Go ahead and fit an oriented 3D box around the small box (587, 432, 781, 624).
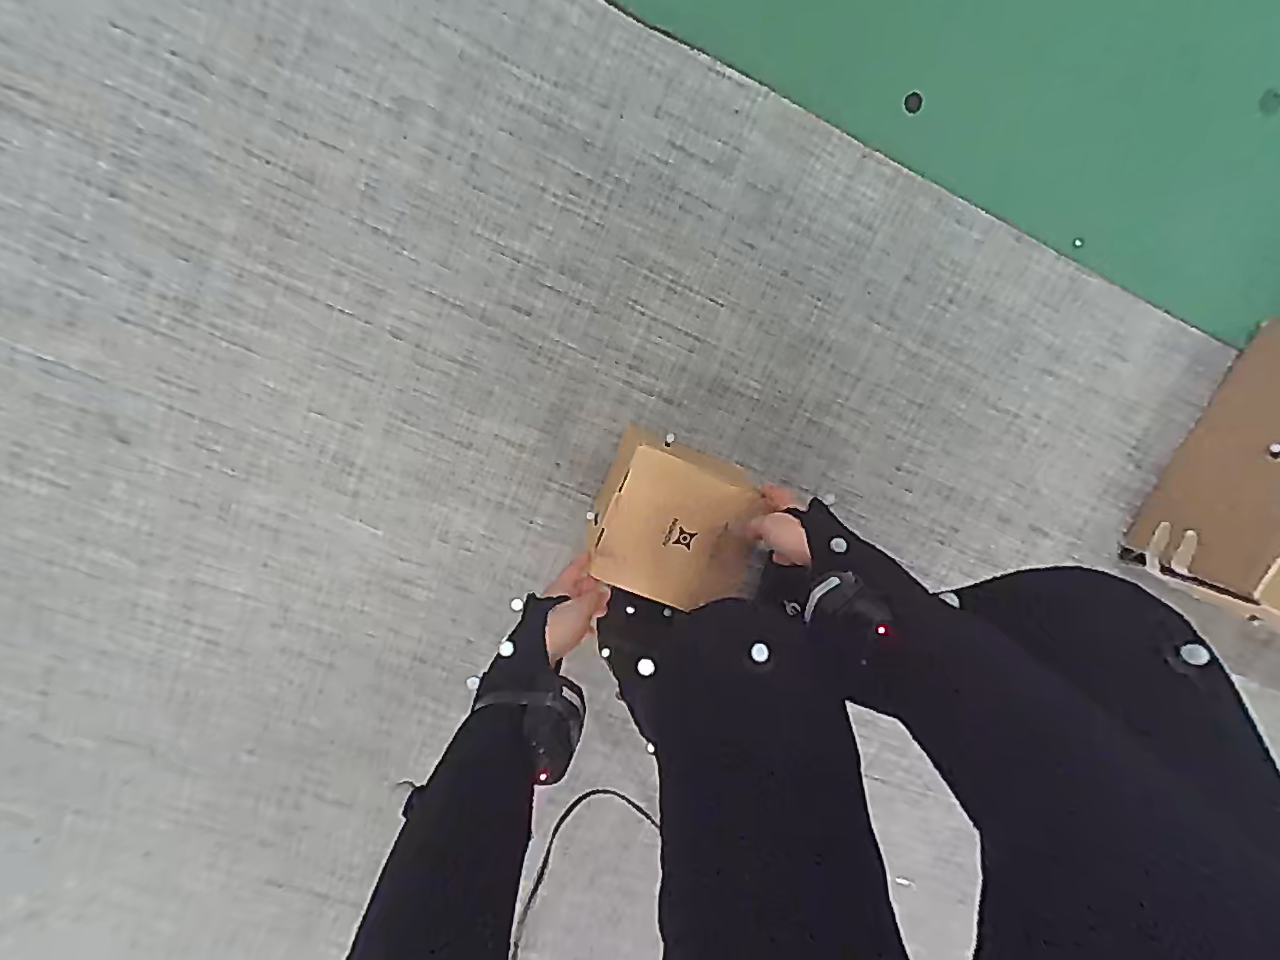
[{"bbox_3d":[0.042,0.048,0.681,0.179,0.176,0.168,21,102,-10],"label":"small box"}]
